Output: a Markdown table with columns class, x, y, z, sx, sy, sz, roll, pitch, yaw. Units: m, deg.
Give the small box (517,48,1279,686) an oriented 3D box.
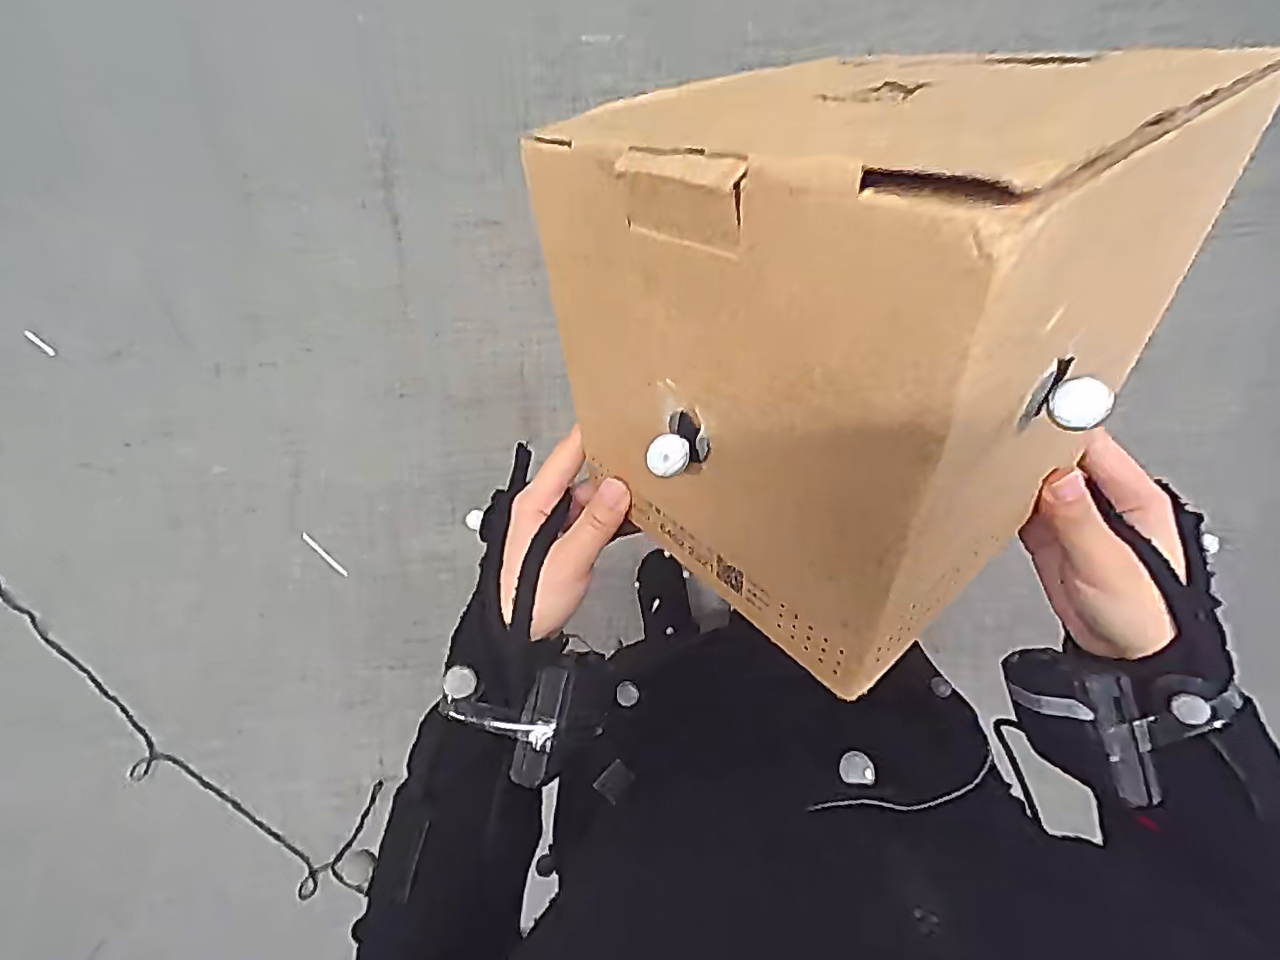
| class | x | y | z | sx | sy | sz | roll | pitch | yaw |
| --- | --- | --- | --- | --- | --- | --- | --- | --- | --- |
| small box | 0.081 | -0.055 | 0.224 | 0.179 | 0.176 | 0.168 | -32 | 47 | -24 |
